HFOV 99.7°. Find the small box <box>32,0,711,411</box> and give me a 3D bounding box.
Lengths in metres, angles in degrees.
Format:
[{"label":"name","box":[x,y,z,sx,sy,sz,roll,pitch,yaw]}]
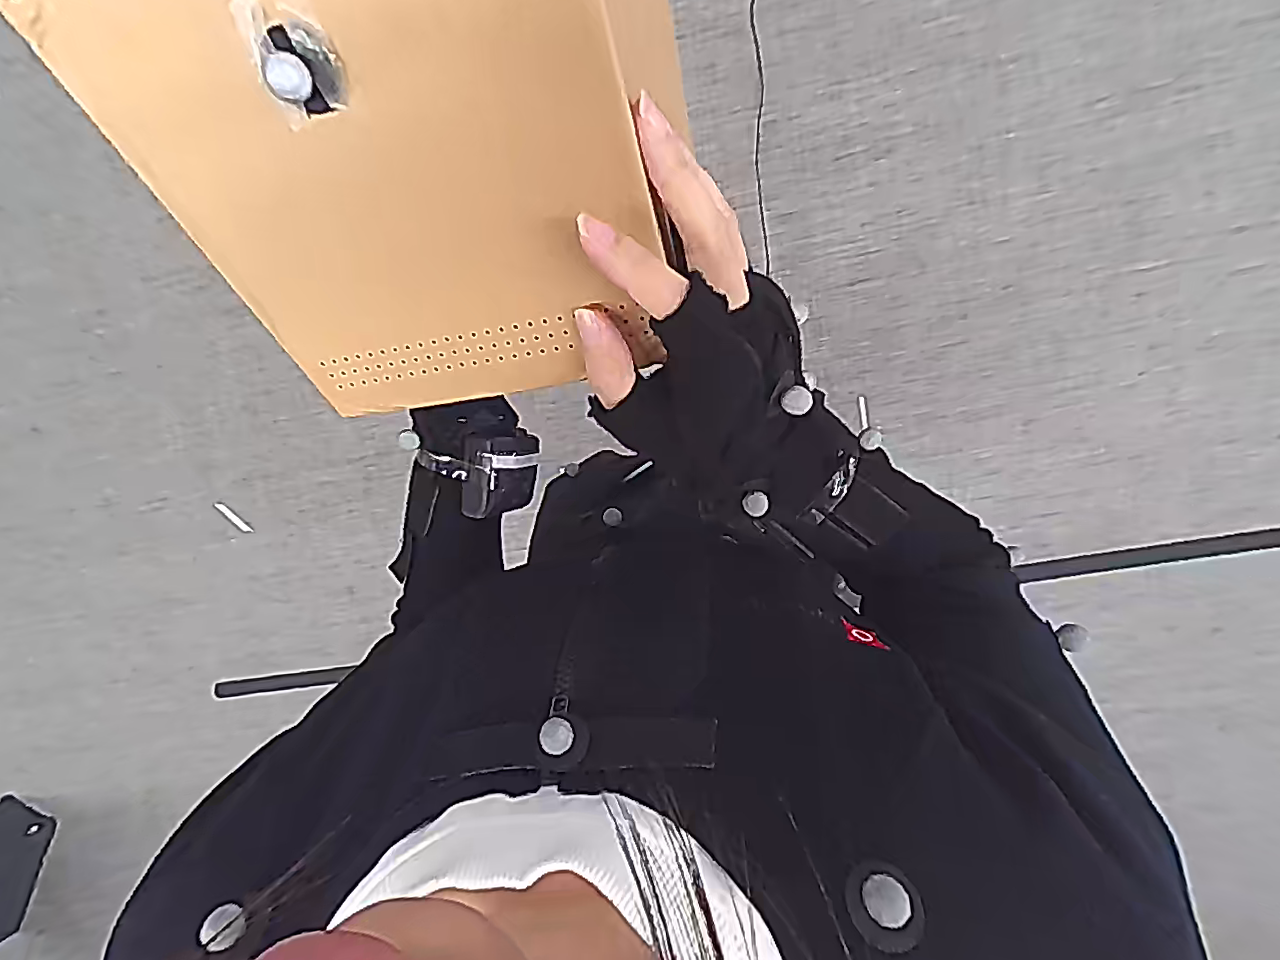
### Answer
[{"label":"small box","box":[-0.071,-0.148,0.247,0.179,0.168,0.176,-5,137,15]}]
